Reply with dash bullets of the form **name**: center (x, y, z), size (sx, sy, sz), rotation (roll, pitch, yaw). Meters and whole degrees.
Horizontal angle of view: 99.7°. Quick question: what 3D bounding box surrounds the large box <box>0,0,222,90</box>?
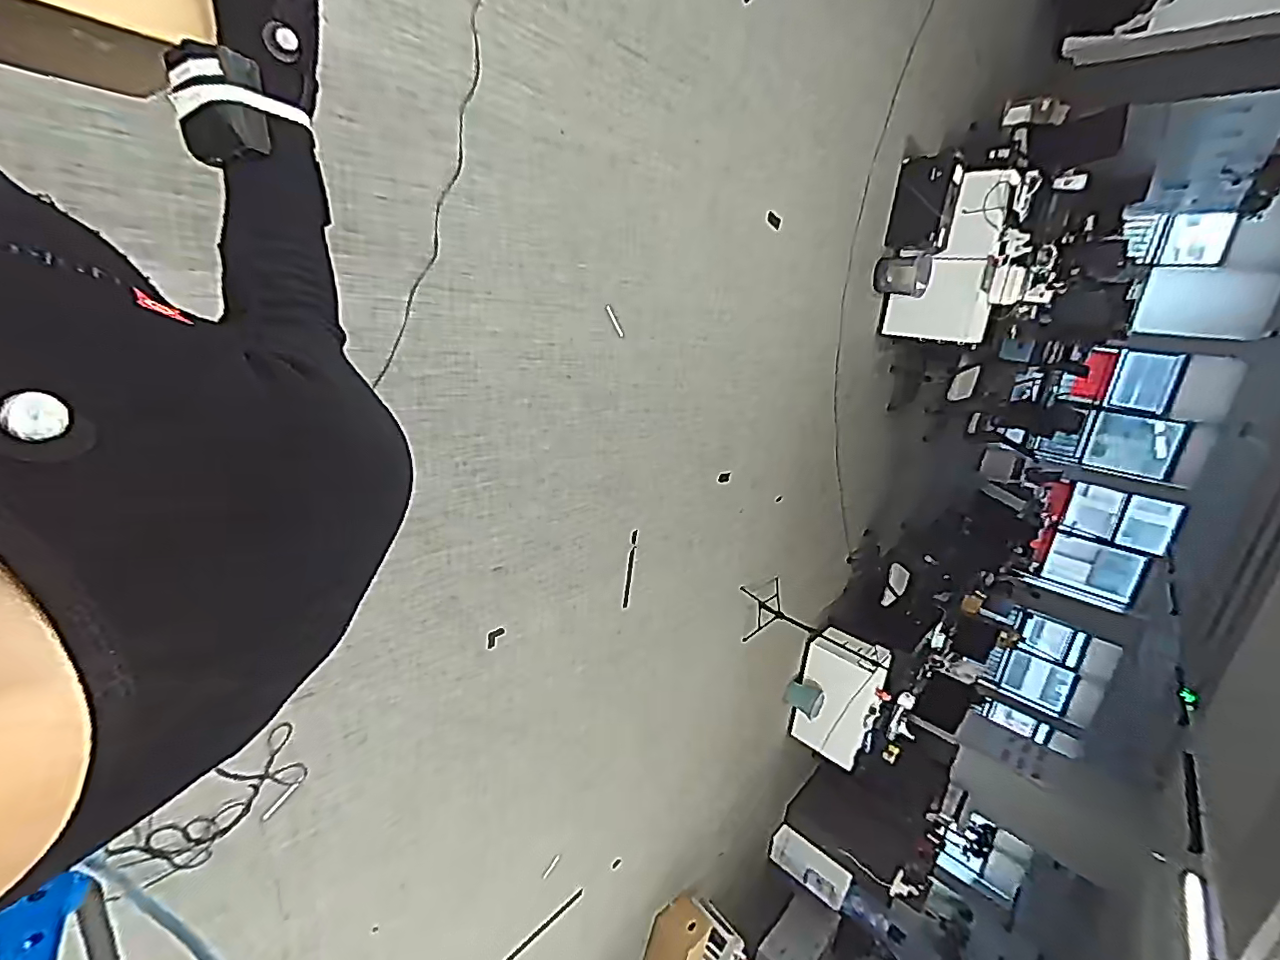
- **large box**: center (-0.534, -0.467, 0.290), size (0.408, 0.320, 0.320), rotation (-16, 121, -47)

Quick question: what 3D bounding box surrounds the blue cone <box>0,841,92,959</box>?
- **blue cone**: center (-1.267, 0.965, 1.115), size (0.193, 0.380, 0.192), rotation (19, 92, -50)
